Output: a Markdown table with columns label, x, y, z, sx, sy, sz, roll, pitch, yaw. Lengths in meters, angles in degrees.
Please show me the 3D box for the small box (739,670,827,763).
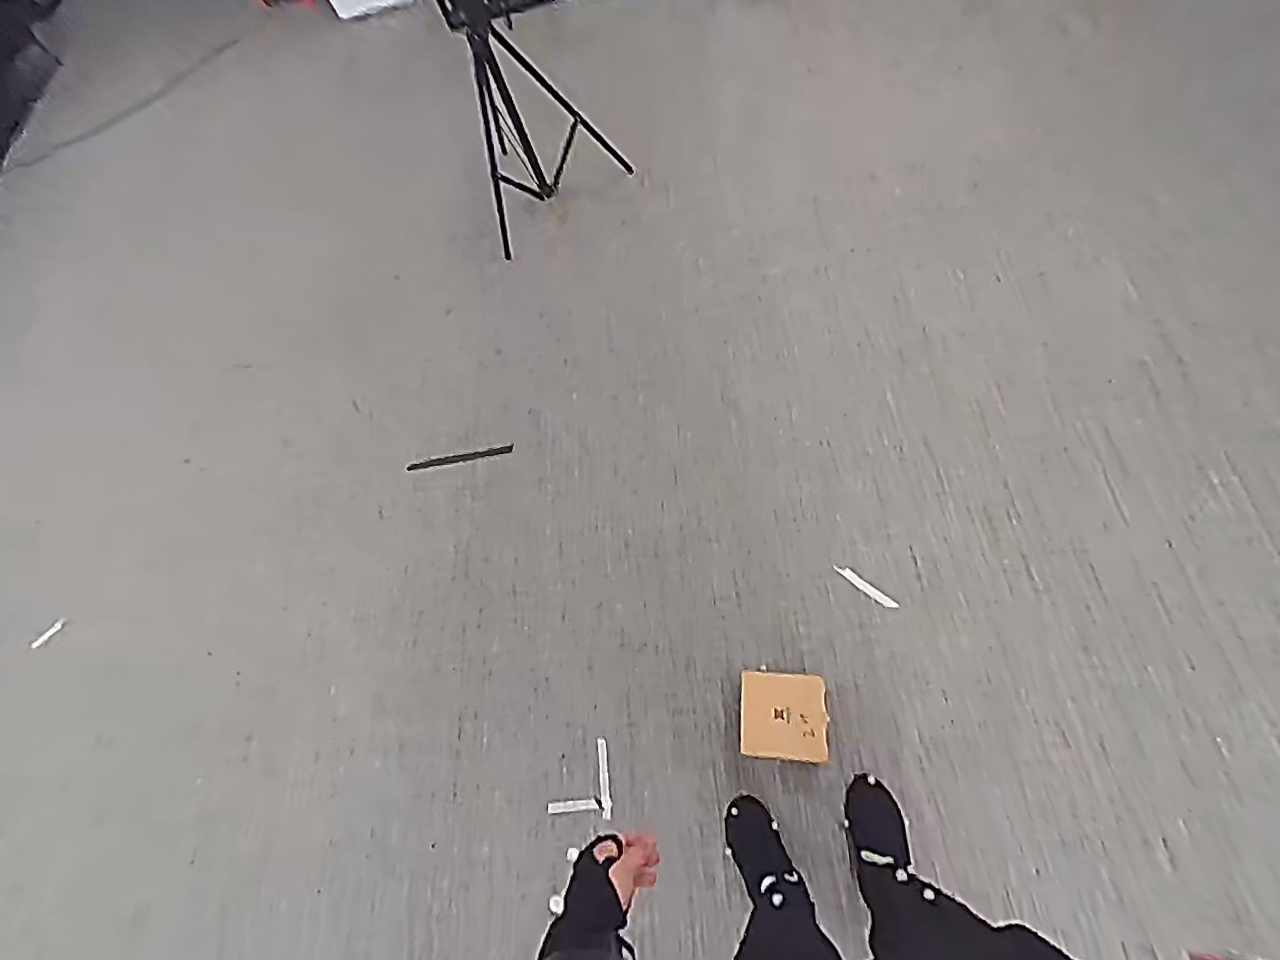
| label | x | y | z | sx | sy | sz | roll | pitch | yaw |
| --- | --- | --- | --- | --- | --- | --- | --- | --- | --- |
| small box | 0.314 | 0.520 | 1.196 | 0.179 | 0.176 | 0.168 | 0 | 68 | 13 |
